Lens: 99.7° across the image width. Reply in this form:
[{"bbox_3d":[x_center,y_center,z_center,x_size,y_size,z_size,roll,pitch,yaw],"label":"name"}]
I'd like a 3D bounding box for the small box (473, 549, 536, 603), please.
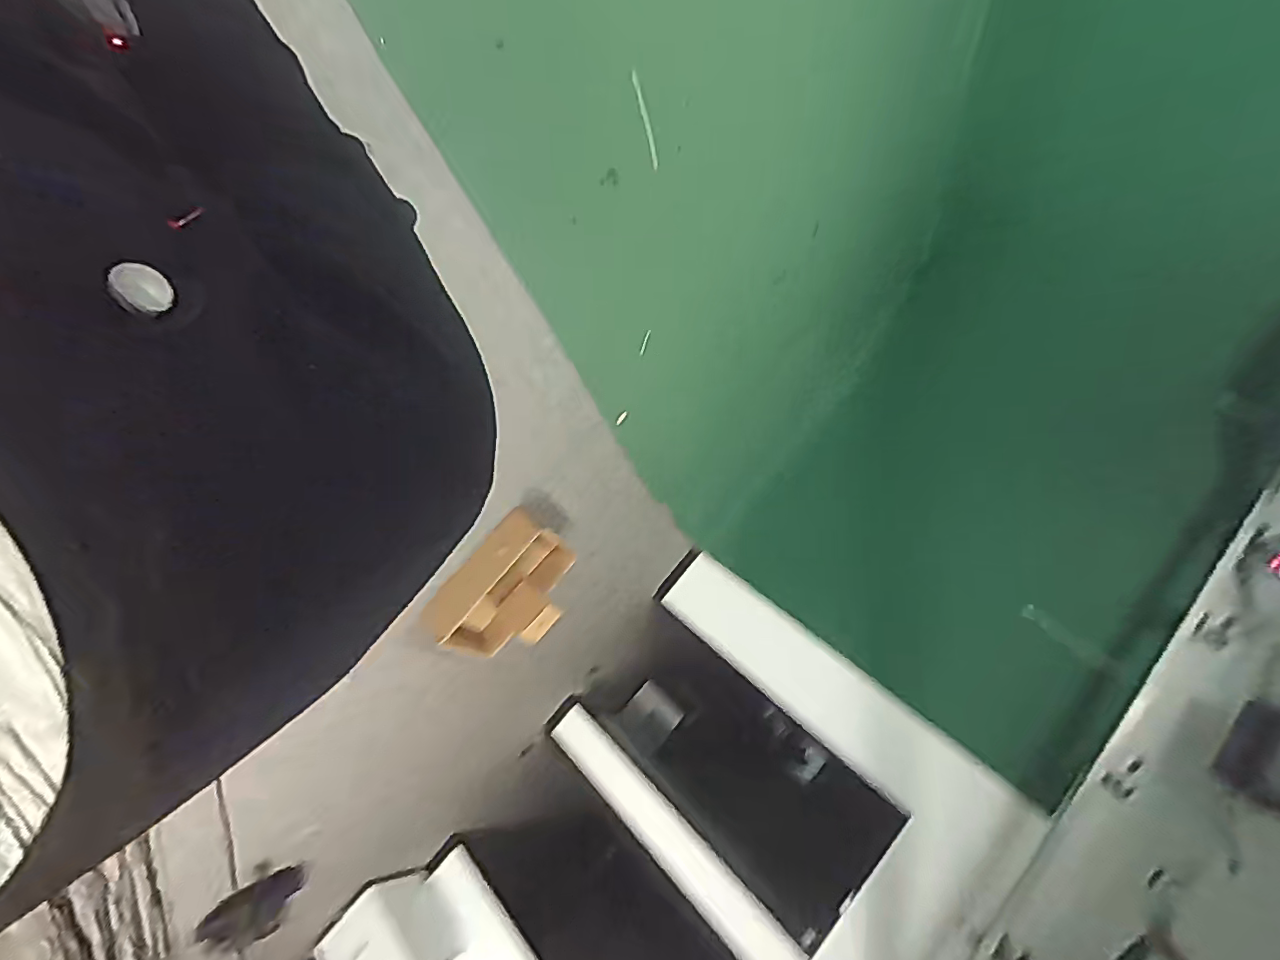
[{"bbox_3d":[-0.601,0.433,2.390,0.179,0.176,0.168,-50,153,-6],"label":"small box"}]

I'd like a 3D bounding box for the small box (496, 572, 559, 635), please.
[{"bbox_3d":[-0.481,0.521,2.282,0.179,0.176,0.168,-49,153,-7],"label":"small box"}]
